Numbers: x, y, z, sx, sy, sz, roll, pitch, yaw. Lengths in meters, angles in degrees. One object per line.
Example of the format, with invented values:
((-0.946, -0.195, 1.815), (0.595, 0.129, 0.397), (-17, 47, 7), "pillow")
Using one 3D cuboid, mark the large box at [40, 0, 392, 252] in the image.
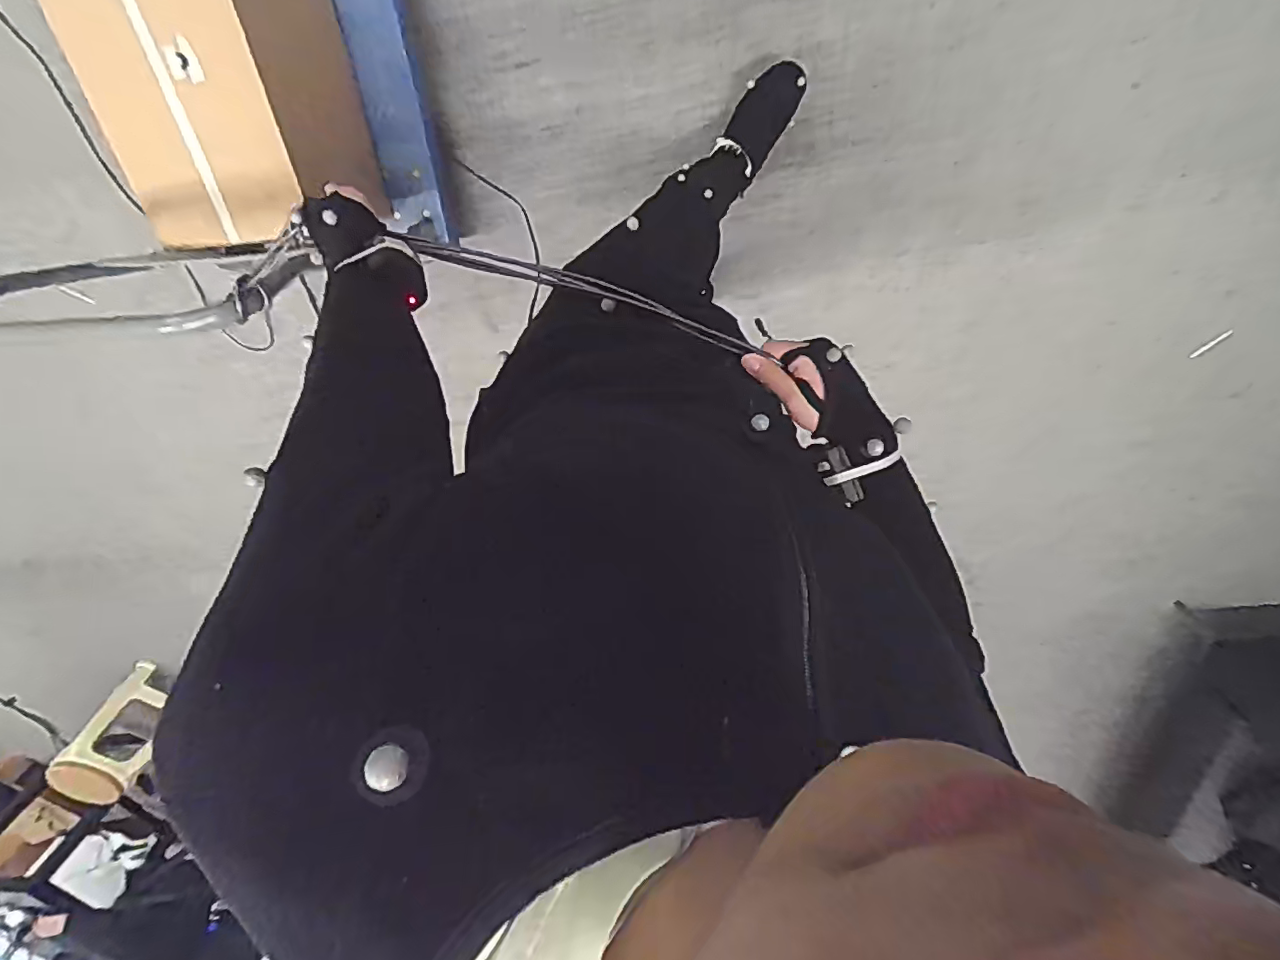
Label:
((-0.737, -0.675, 1.015), (0.320, 0.320, 0.408), (-2, 121, 6), "large box")
